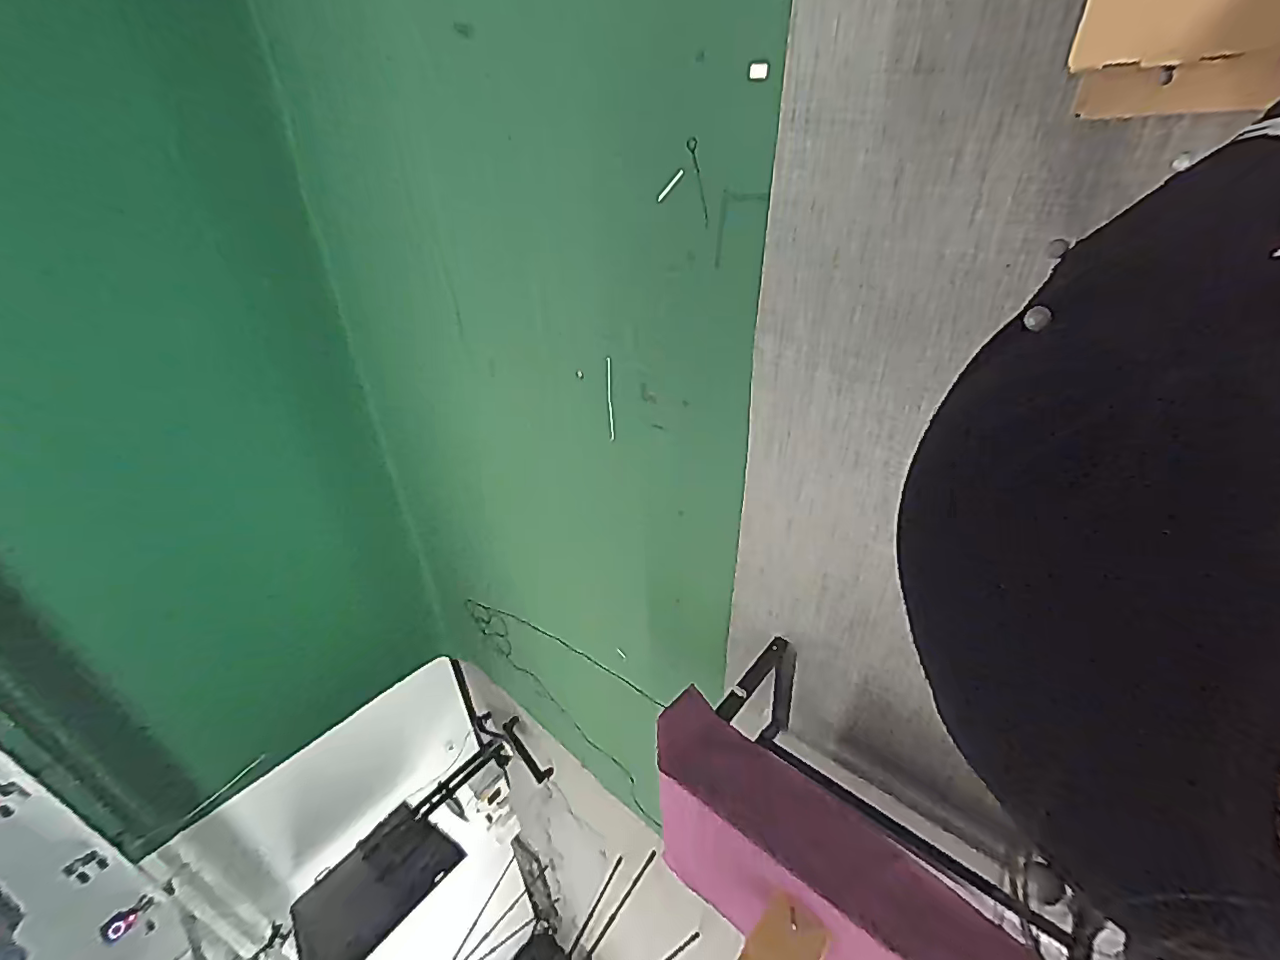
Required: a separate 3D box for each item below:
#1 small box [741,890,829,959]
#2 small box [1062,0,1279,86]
[{"bbox_3d":[0.391,1.273,1.463,0.168,0.176,0.179,23,130,35],"label":"small box"},{"bbox_3d":[0.561,-0.503,0.534,0.168,0.176,0.179,23,132,33],"label":"small box"}]
